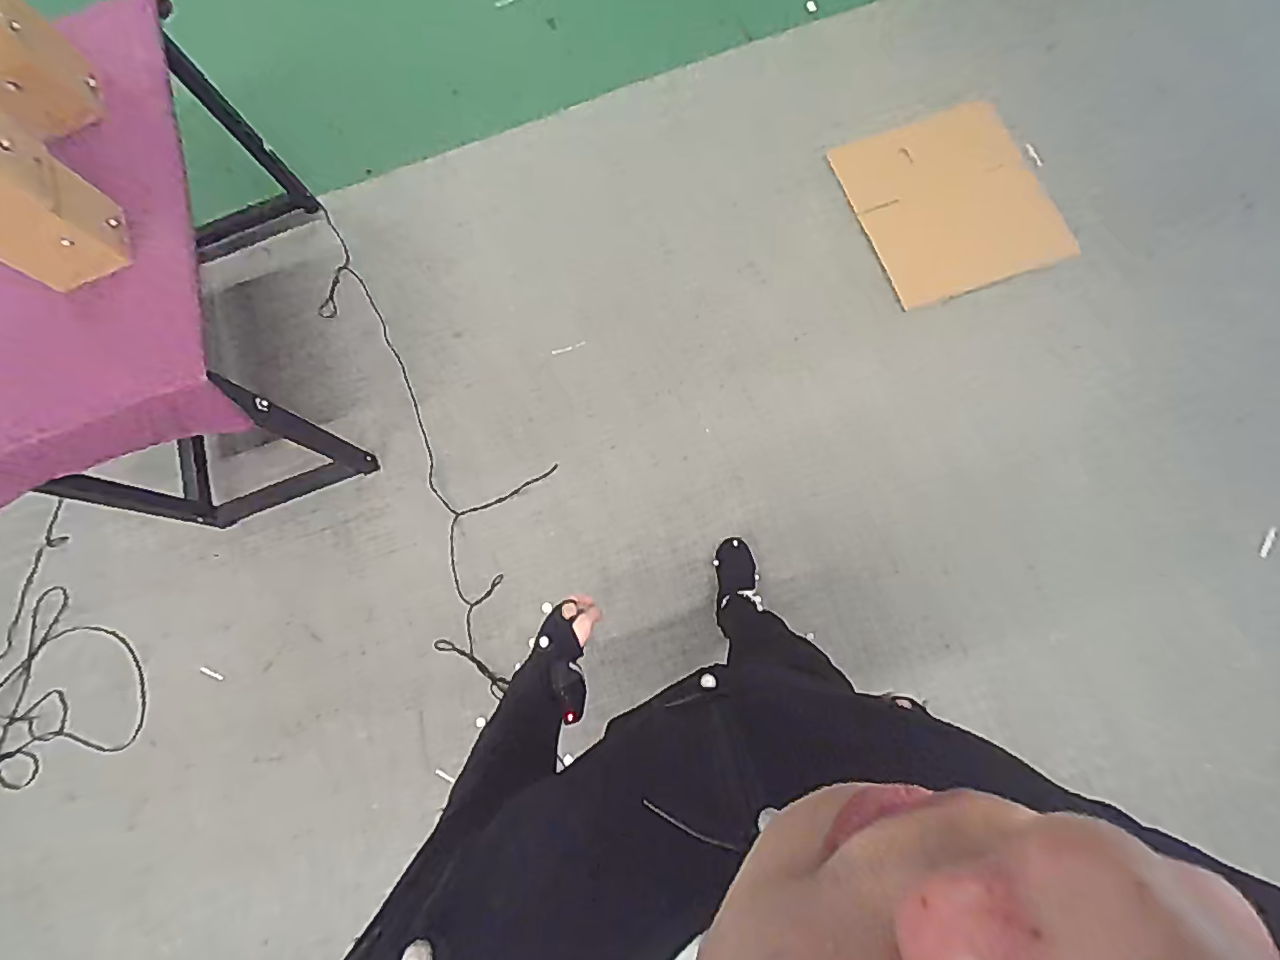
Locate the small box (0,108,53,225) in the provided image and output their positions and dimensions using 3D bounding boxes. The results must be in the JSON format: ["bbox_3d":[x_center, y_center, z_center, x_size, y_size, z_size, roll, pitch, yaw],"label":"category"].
[{"bbox_3d":[-1.245,-0.598,0.994,0.179,0.176,0.168,-22,74,0],"label":"small box"}]

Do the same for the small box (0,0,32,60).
[{"bbox_3d":[-1.421,-1.001,1.115,0.179,0.176,0.168,-19,76,3],"label":"small box"}]

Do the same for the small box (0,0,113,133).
[{"bbox_3d":[-1.407,-0.964,1.273,0.179,0.176,0.168,-18,76,2],"label":"small box"}]
